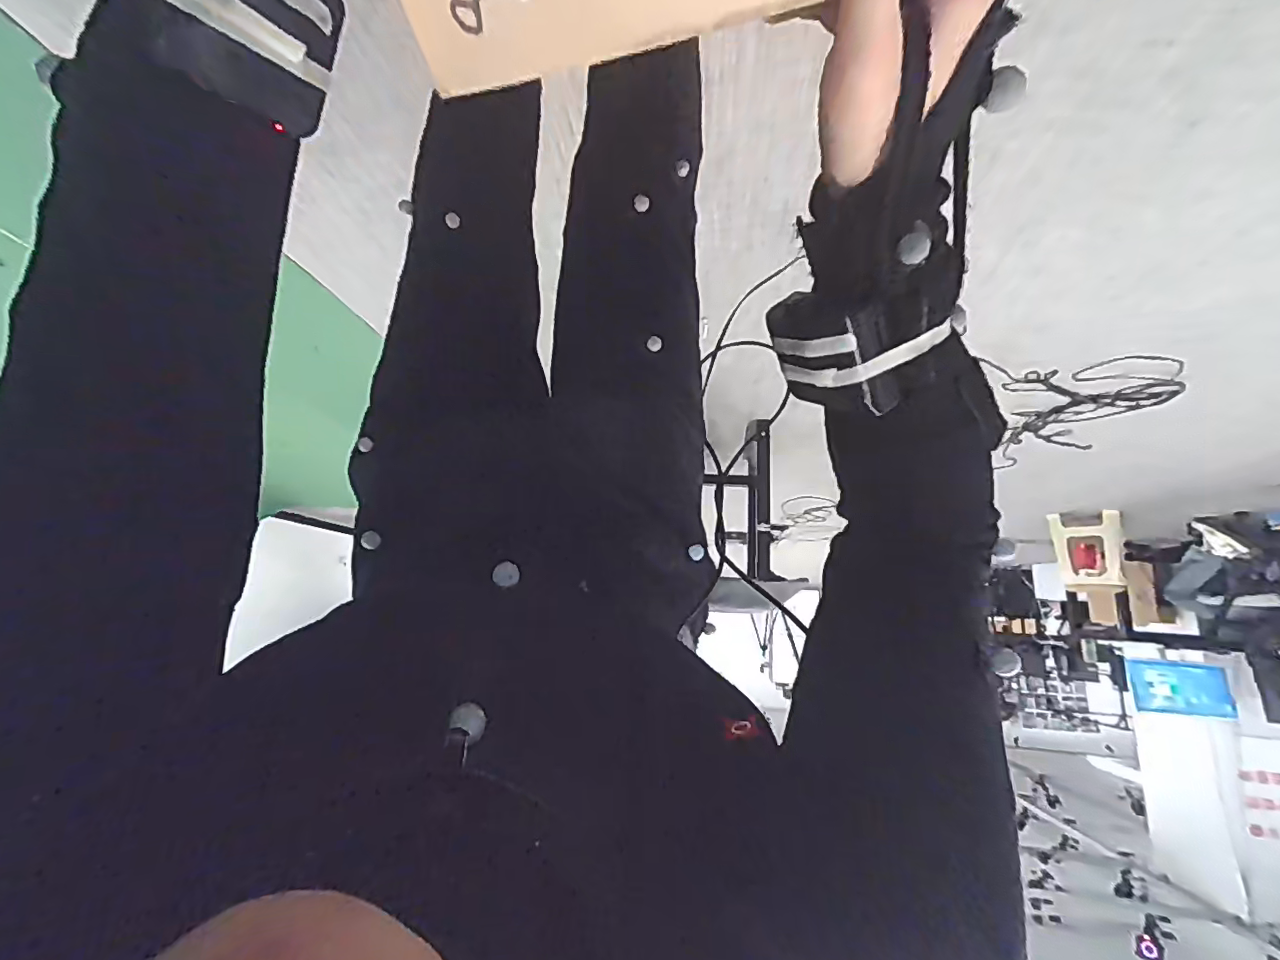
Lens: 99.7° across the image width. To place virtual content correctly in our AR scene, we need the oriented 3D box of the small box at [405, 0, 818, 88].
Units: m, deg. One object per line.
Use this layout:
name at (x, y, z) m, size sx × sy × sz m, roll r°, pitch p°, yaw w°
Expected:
small box at (-0.013, -0.262, 0.155) m, size 0.179 × 0.176 × 0.168 m, roll -14°, pitch 152°, yaw 0°

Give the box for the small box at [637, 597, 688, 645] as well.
small box at (0.094, 0.554, 2.131) m, size 0.168 × 0.176 × 0.179 m, roll -1°, pitch 165°, yaw 17°
